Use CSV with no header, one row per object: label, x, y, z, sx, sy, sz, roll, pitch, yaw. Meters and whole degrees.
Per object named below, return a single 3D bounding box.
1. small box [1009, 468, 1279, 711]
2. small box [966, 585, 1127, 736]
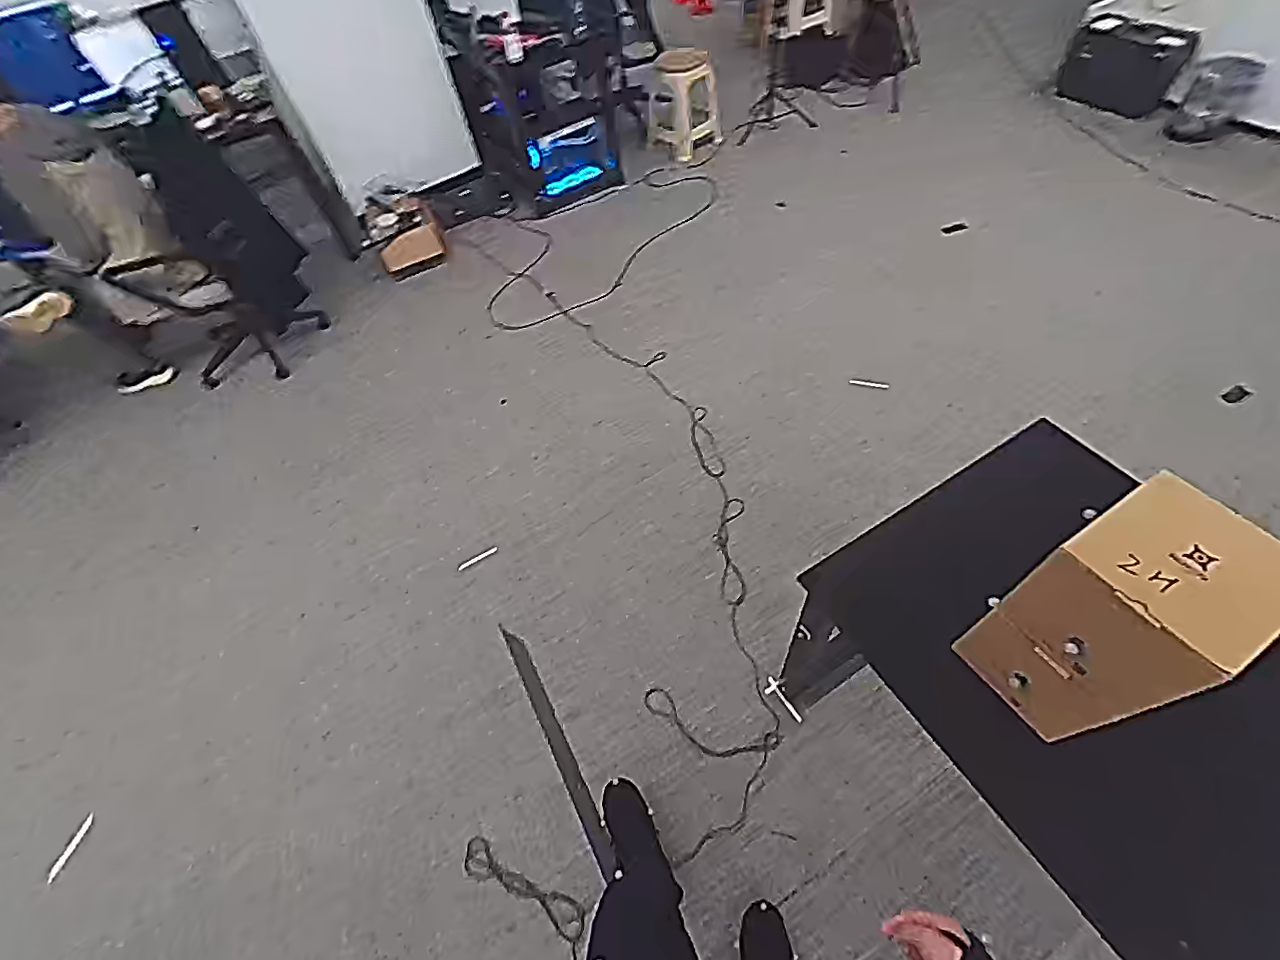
small box,0.566,0.125,0.604,0.179,0.176,0.168,-30,56,-12
small box,0.584,0.219,0.738,0.179,0.176,0.168,-31,57,-13
